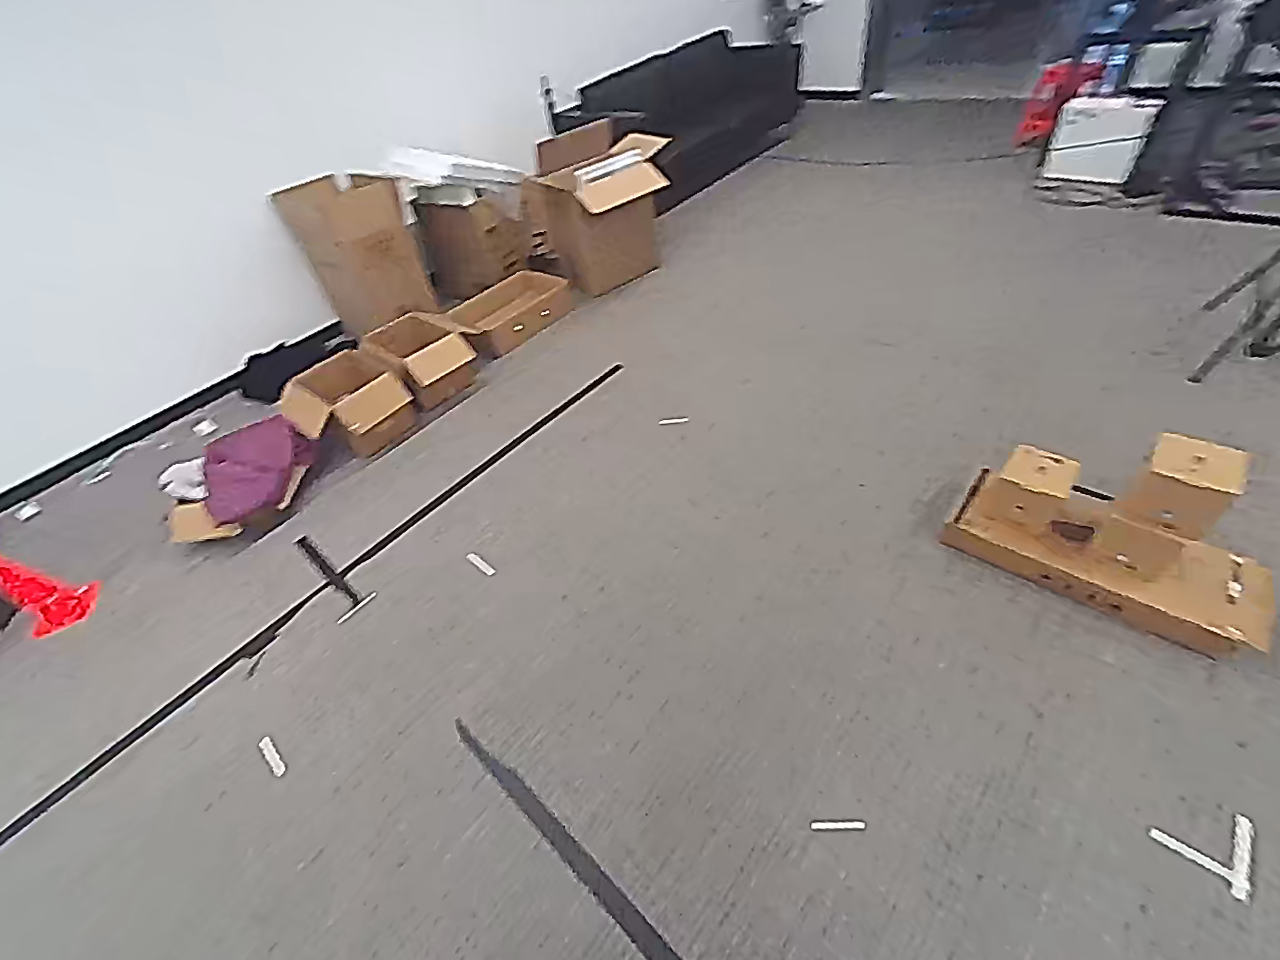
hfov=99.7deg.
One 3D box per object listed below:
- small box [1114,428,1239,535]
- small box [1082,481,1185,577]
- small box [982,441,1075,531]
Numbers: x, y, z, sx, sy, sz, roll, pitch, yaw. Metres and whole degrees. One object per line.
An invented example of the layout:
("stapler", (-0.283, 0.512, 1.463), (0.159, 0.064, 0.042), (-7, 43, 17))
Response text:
("small box", (1.346, 0.005, 1.365), (0.168, 0.176, 0.179), (26, 55, 32))
("small box", (1.356, 0.128, 1.477), (0.168, 0.176, 0.179), (30, 59, 35))
("small box", (1.154, 0.021, 1.620), (0.168, 0.176, 0.179), (27, 57, 34))
